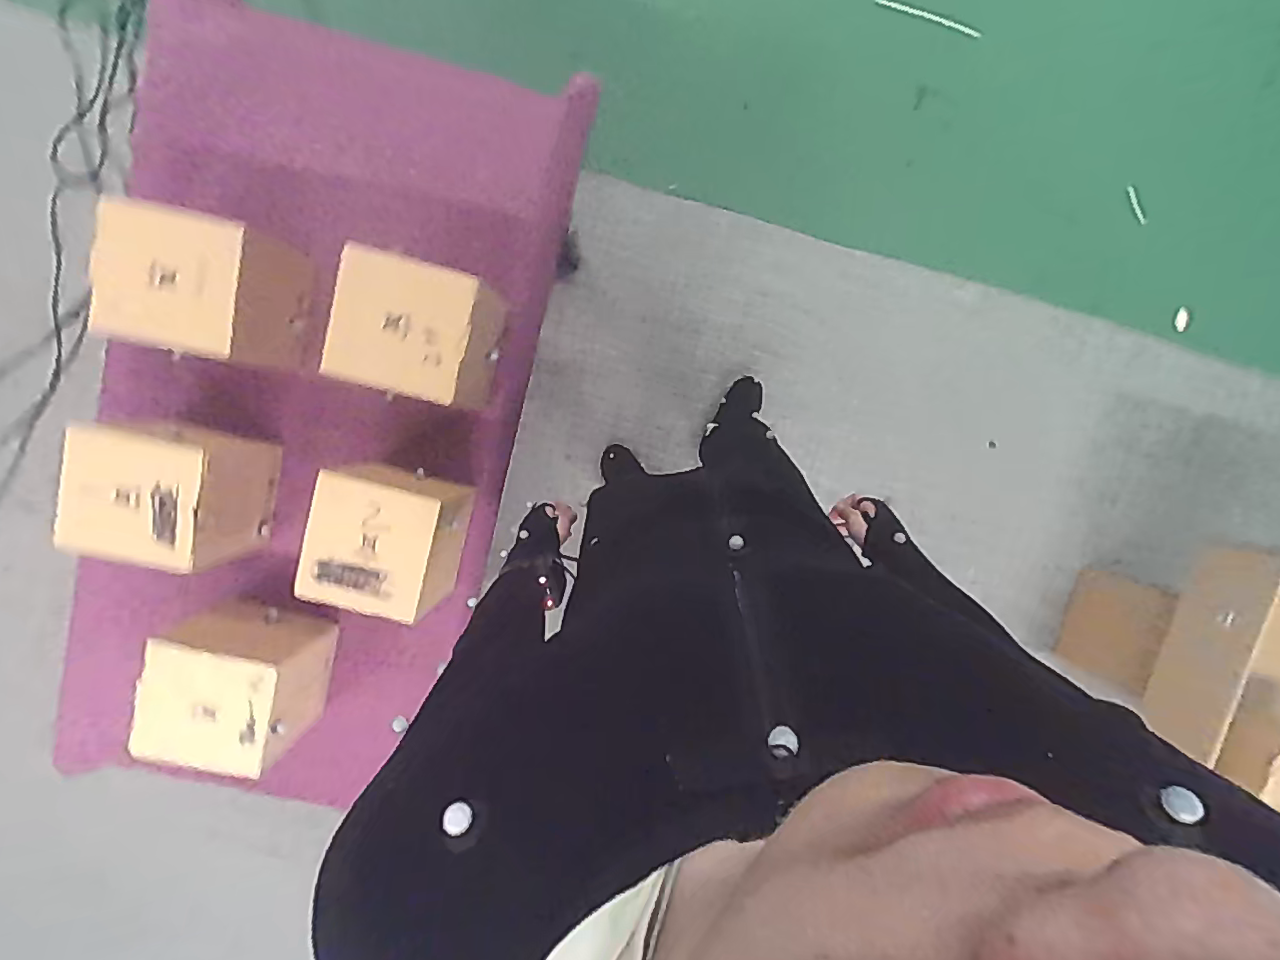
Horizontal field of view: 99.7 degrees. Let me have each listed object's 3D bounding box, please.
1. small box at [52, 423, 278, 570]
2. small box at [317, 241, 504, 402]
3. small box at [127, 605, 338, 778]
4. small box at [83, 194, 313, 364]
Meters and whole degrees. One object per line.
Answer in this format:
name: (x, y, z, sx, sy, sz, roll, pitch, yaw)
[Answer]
small box: (-0.662, 0.014, 0.775, 0.179, 0.176, 0.168, 12, 95, -3)
small box: (-0.310, -0.209, 0.764, 0.179, 0.176, 0.168, 14, 96, -3)
small box: (-0.592, 0.300, 0.805, 0.179, 0.176, 0.168, 14, 96, -3)
small box: (-0.596, -0.262, 0.750, 0.179, 0.176, 0.168, 11, 96, -5)
